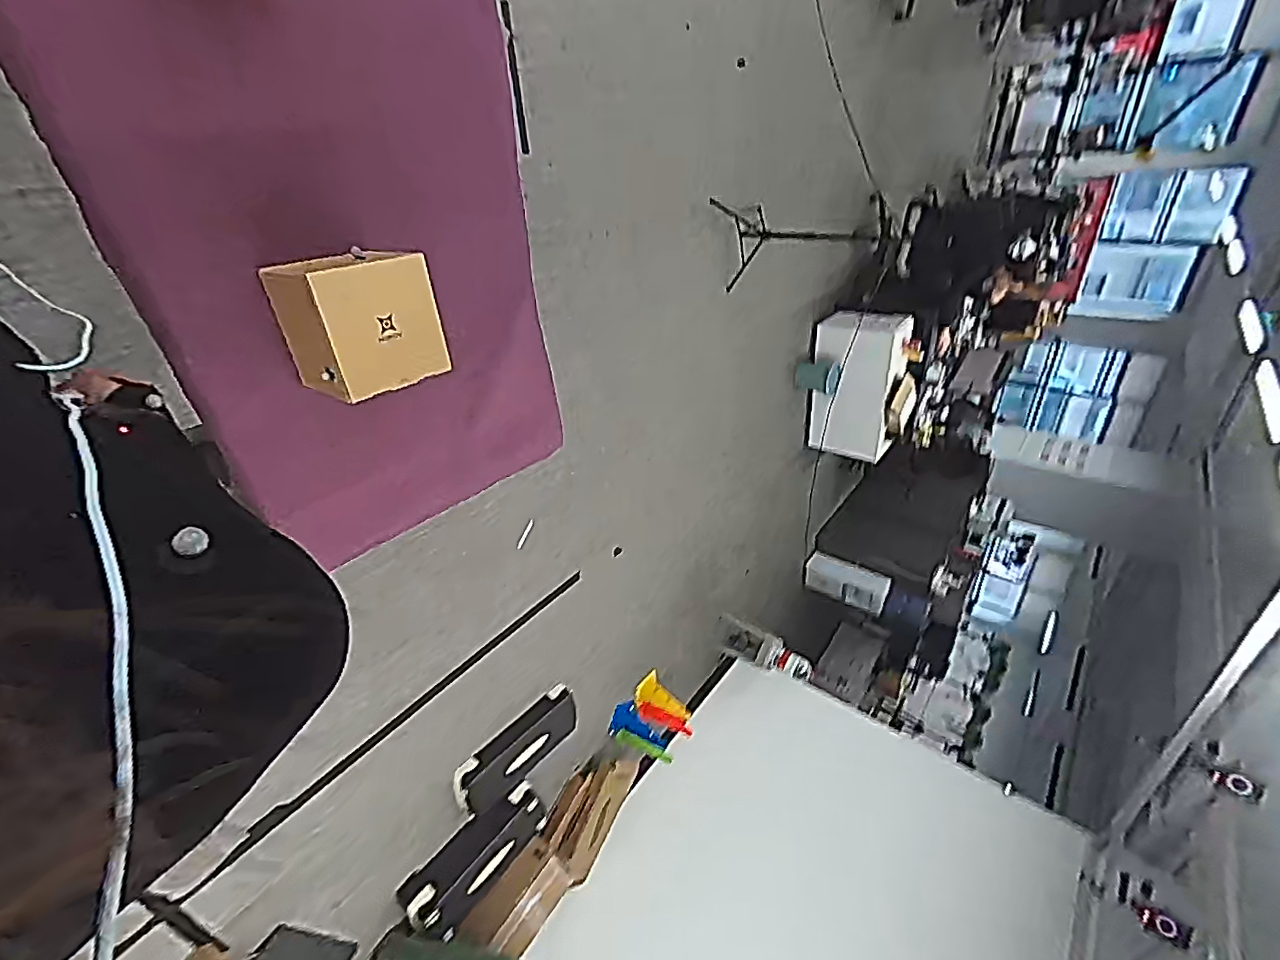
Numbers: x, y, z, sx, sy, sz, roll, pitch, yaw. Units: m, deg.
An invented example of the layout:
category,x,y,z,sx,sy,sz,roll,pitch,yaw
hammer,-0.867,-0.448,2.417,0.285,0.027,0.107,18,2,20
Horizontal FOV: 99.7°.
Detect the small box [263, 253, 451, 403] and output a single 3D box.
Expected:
category,x,y,z,sx,sy,sz,roll,pitch,yaw
small box,-0.417,-0.235,0.804,0.168,0.176,0.179,-34,132,-40
